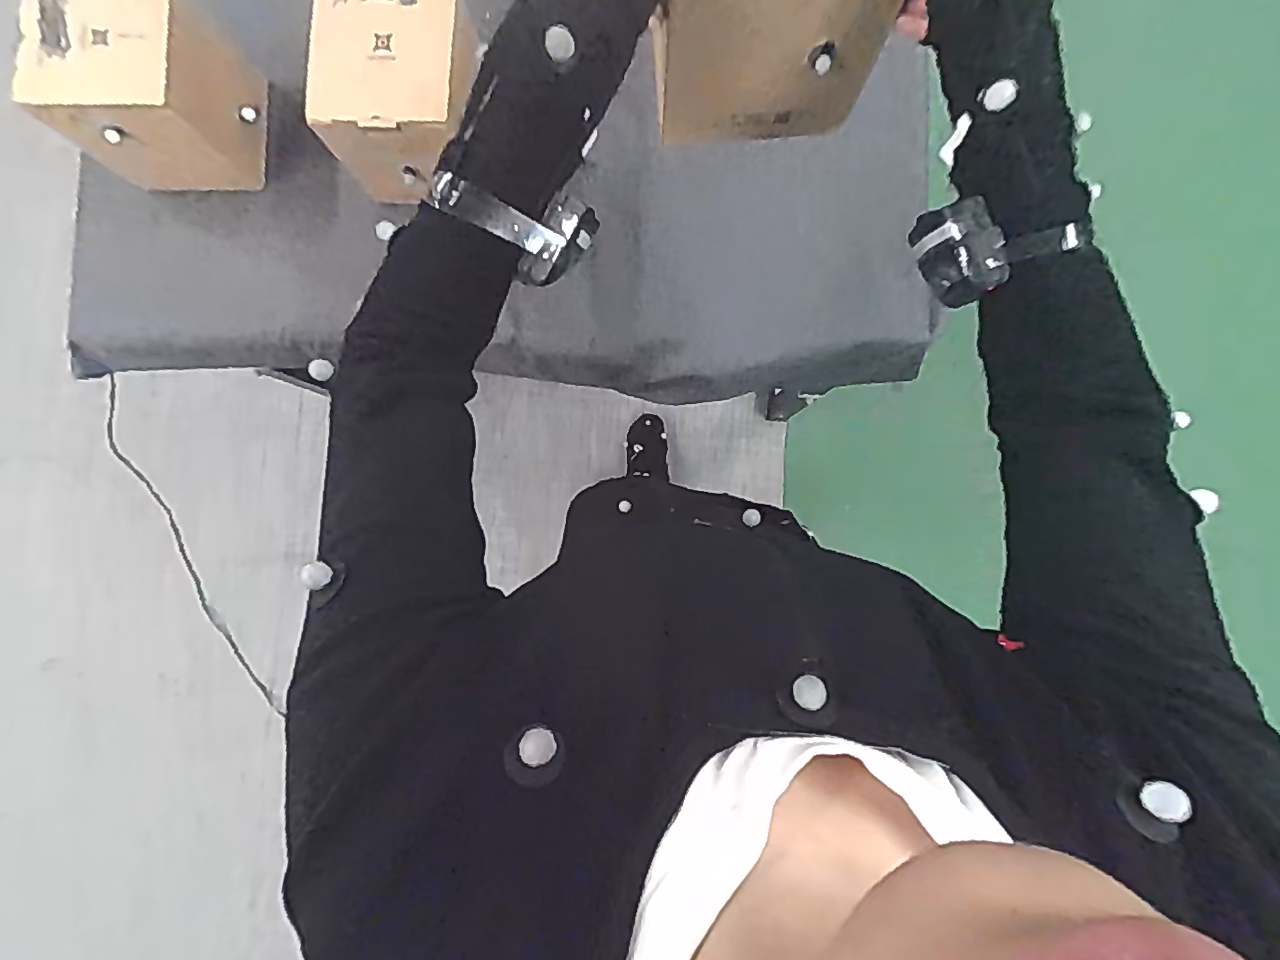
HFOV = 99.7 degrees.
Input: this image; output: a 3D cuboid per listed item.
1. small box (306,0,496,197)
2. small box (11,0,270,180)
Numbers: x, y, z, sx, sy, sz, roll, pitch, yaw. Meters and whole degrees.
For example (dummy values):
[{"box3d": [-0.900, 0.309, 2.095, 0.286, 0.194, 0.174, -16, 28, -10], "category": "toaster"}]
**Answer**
[{"box3d": [-0.290, -0.490, 0.691, 0.168, 0.176, 0.179, 3, 88, 1], "category": "small box"}, {"box3d": [-0.621, -0.512, 0.693, 0.179, 0.176, 0.168, 0, 88, -1], "category": "small box"}]
